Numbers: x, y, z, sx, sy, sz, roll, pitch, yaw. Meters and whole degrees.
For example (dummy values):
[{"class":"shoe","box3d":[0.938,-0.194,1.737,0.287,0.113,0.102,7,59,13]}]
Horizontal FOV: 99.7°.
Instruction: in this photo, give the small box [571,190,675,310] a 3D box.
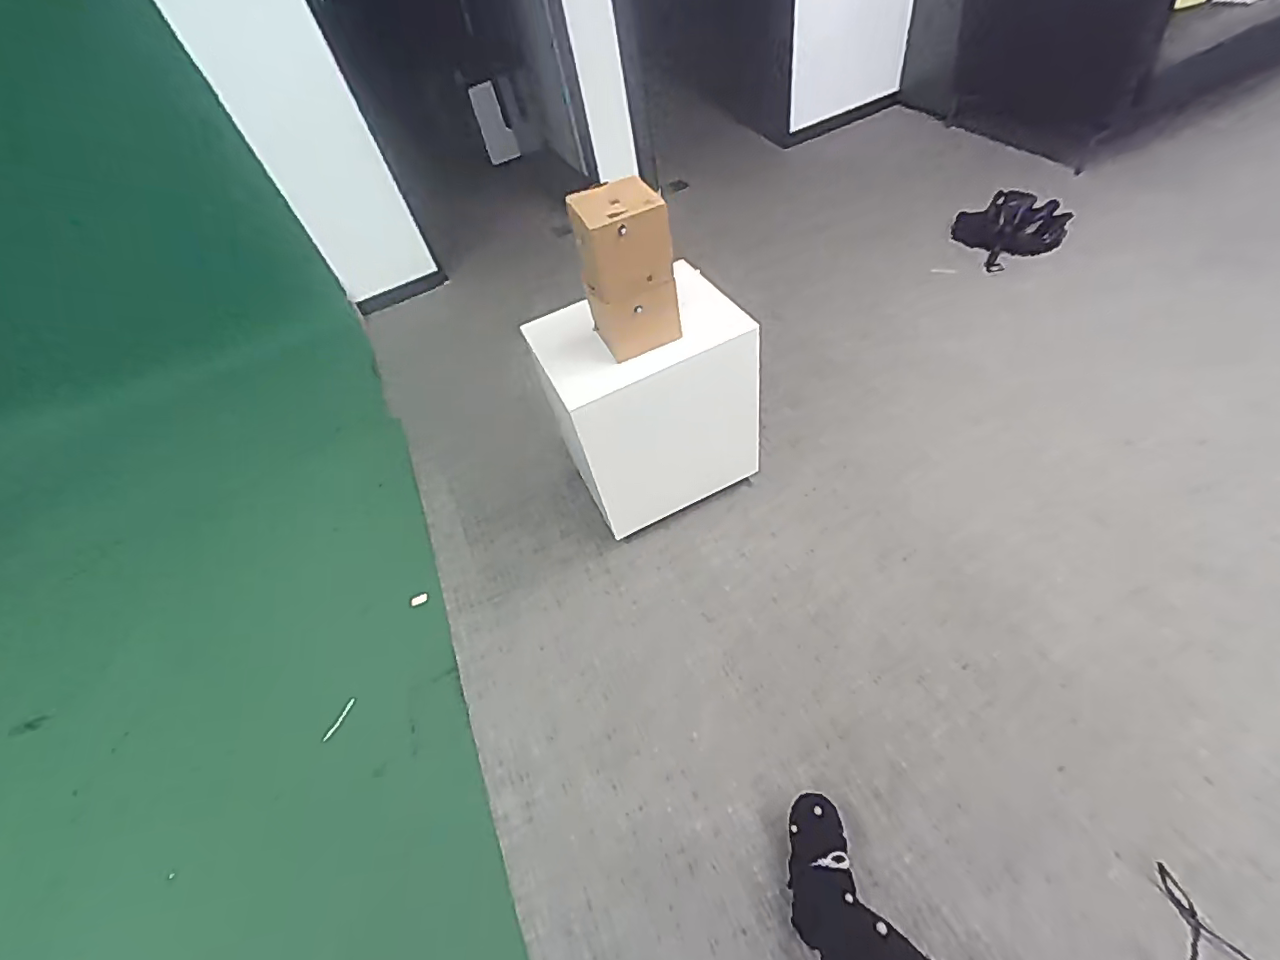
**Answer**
[{"class":"small box","box3d":[-0.034,-0.507,1.197,0.168,0.176,0.179,-24,51,-10]}]

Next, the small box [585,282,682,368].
[{"class":"small box","box3d":[-0.012,-0.400,1.315,0.179,0.176,0.168,-24,50,-8]}]
